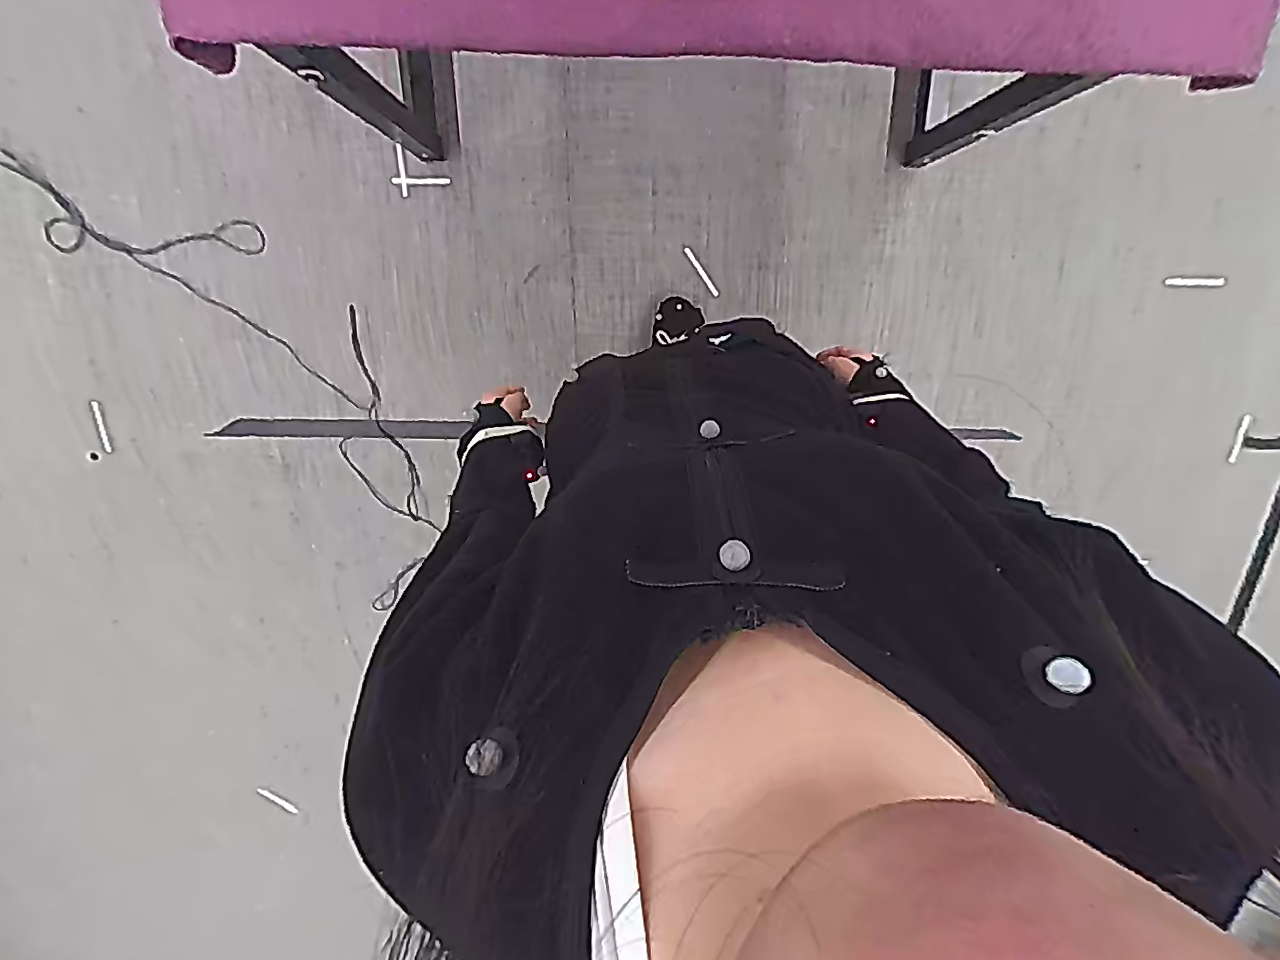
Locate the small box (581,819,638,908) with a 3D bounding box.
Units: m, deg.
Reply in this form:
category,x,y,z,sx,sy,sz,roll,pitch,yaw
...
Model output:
category,x,y,z,sx,sy,sz,roll,pitch,yaw
small box,-0.098,1.286,1.819,0.168,0.176,0.179,-9,108,0
